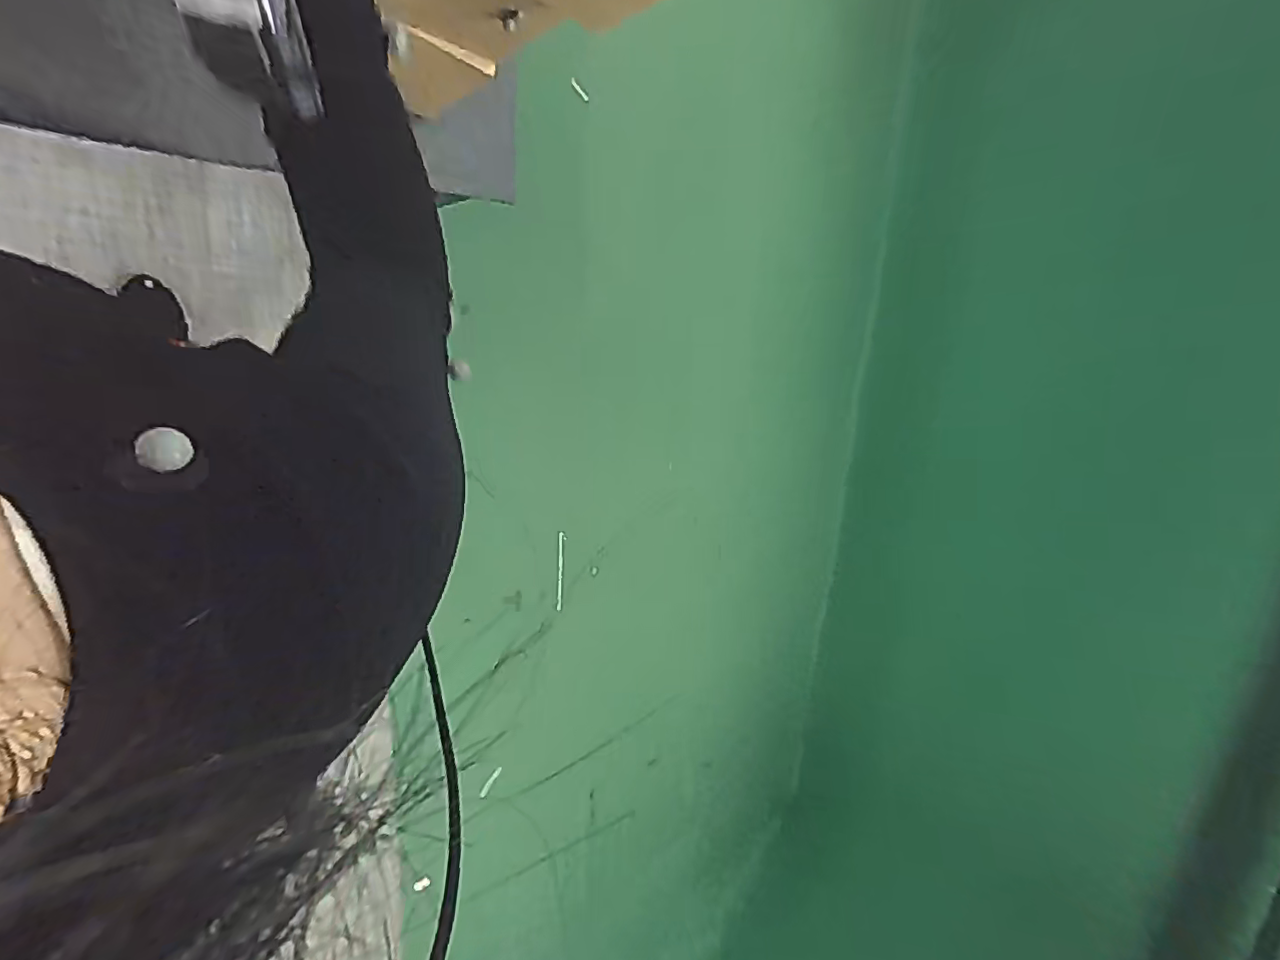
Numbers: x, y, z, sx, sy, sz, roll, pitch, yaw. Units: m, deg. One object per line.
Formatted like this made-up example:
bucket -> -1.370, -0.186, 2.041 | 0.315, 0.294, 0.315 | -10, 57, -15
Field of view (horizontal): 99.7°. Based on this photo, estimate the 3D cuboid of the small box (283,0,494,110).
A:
small box -> -0.270, -0.547, 0.582 | 0.168, 0.176, 0.179 | -3, 103, -46

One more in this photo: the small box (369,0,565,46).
small box -> -0.161, -0.519, 0.464 | 0.179, 0.176, 0.168 | -12, 108, -43
